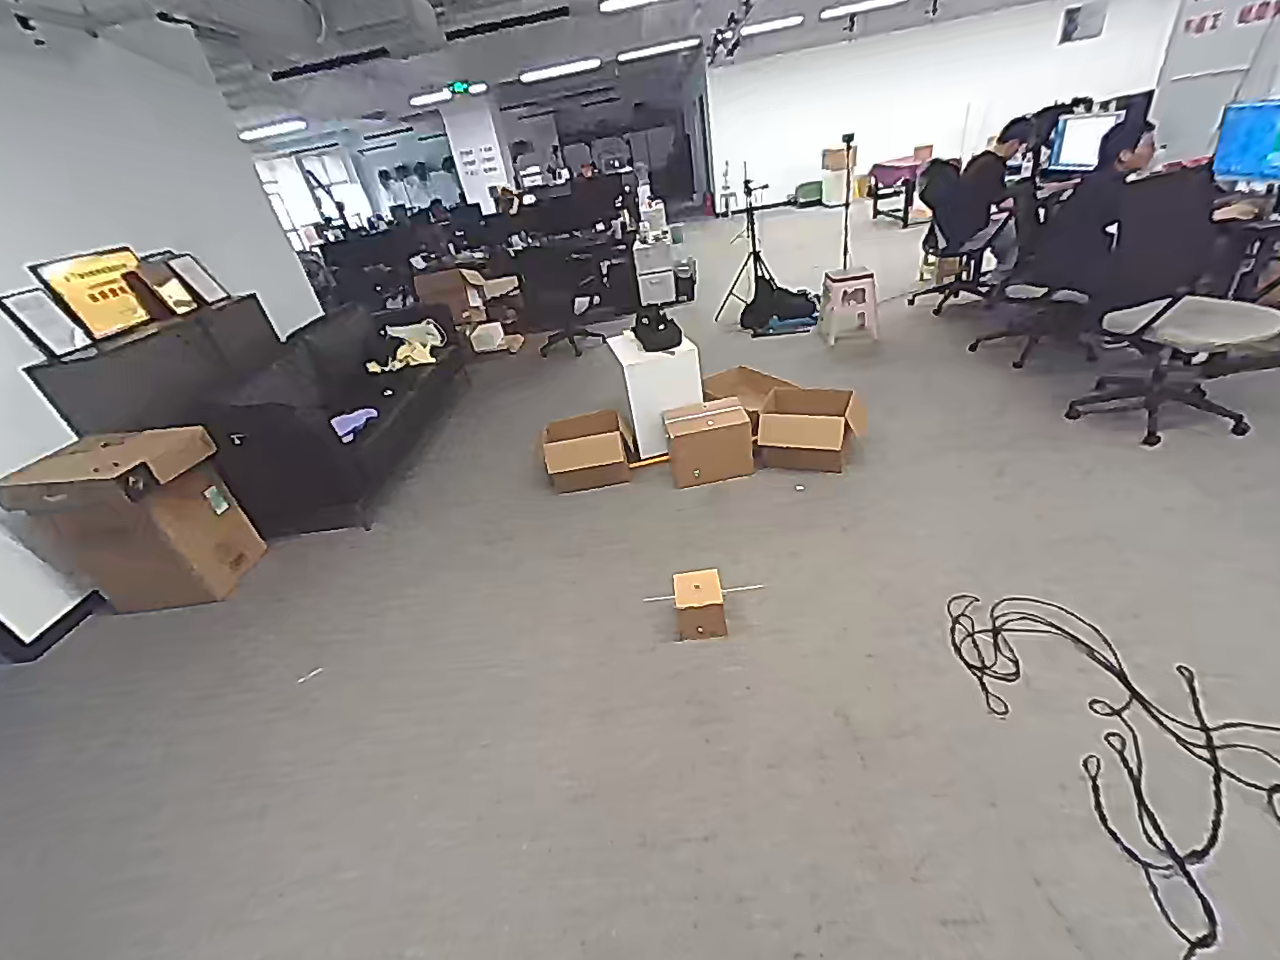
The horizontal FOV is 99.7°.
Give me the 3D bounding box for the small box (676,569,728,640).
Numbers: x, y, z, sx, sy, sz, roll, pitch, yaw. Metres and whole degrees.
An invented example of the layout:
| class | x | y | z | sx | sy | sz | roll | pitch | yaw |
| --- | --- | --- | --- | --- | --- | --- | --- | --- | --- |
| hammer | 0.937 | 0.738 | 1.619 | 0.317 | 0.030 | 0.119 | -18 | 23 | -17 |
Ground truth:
| class | x | y | z | sx | sy | sz | roll | pitch | yaw |
| --- | --- | --- | --- | --- | --- | --- | --- | --- | --- |
| small box | 0.224 | 0.452 | 1.961 | 0.168 | 0.176 | 0.179 | -9 | 32 | 5 |
